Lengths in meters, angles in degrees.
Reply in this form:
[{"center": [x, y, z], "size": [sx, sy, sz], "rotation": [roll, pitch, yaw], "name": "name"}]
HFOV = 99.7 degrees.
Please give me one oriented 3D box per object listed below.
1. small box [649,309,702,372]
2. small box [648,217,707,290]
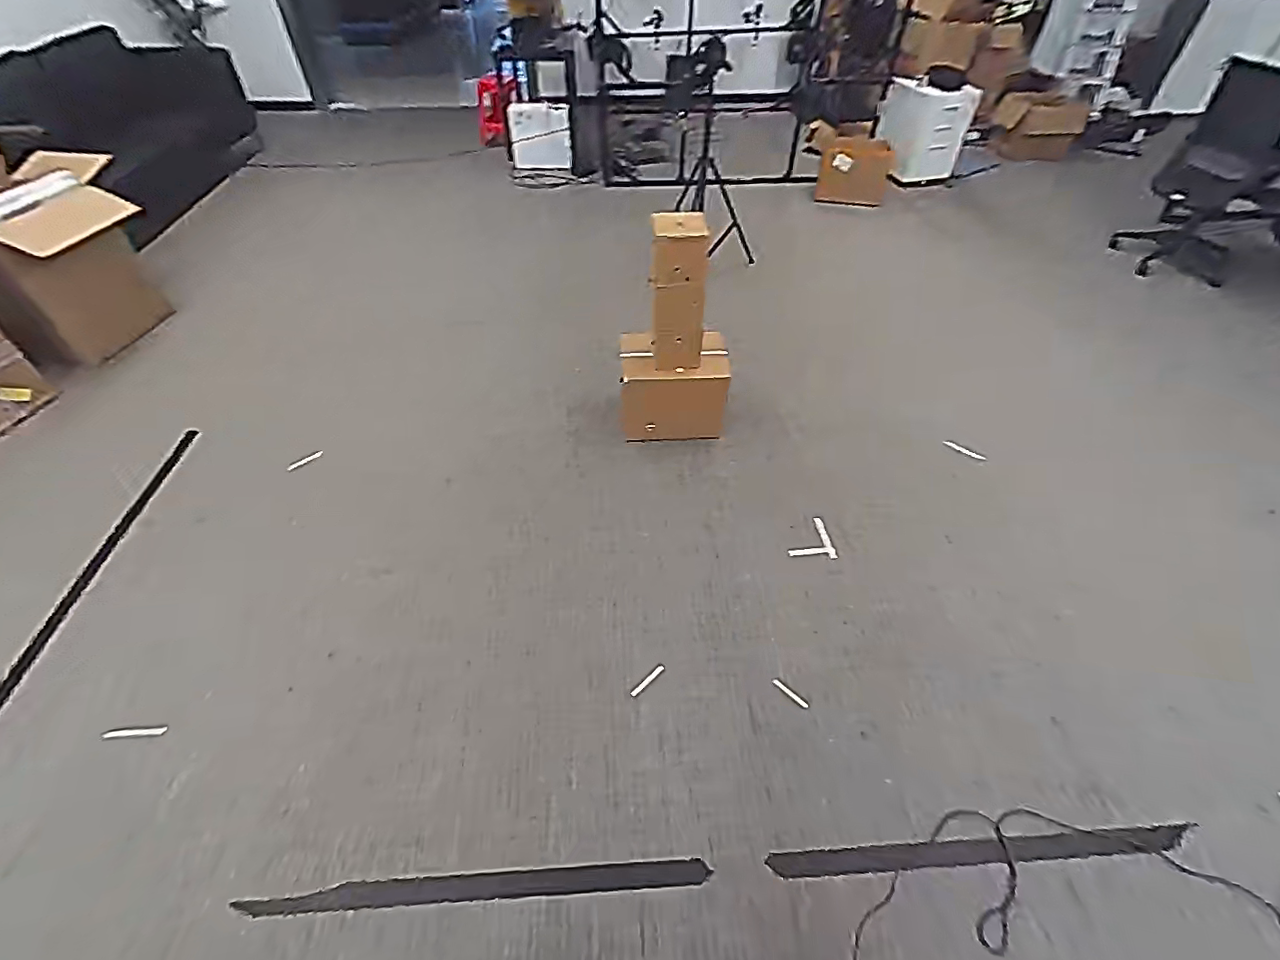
[{"center": [0.126, -0.517, 2.014], "size": [0.179, 0.176, 0.168], "rotation": [-3, 48, -5], "name": "small box"}, {"center": [0.118, -0.746, 1.779], "size": [0.168, 0.176, 0.179], "rotation": [-4, 49, -4], "name": "small box"}]
